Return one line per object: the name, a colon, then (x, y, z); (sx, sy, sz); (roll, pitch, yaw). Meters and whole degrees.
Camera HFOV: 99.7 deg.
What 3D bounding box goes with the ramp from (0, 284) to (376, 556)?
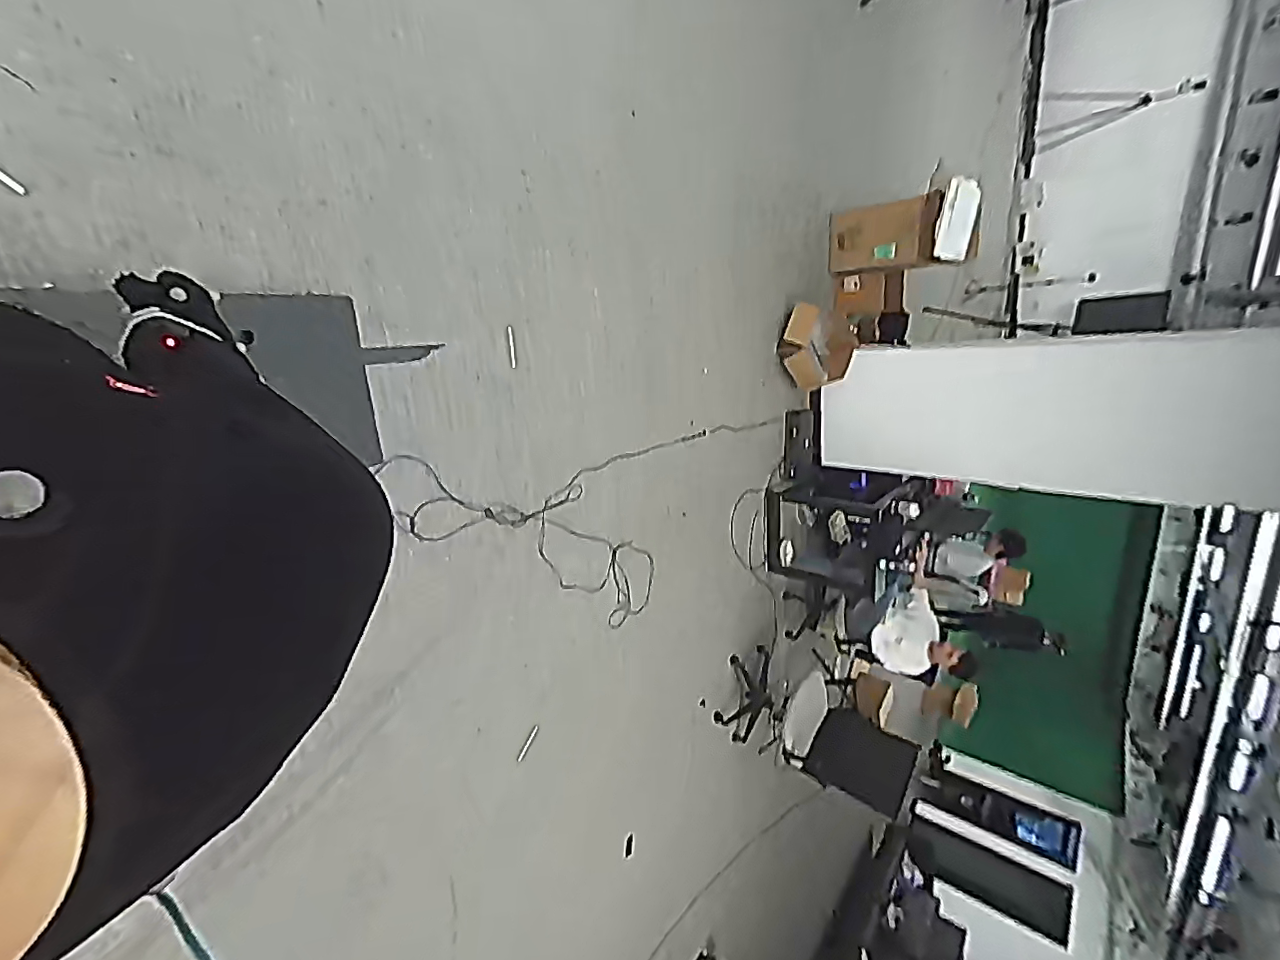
ramp: (-1.075, -0.165, 1.171); (0.991, 0.206, 0.509); (-23, 113, -46)
